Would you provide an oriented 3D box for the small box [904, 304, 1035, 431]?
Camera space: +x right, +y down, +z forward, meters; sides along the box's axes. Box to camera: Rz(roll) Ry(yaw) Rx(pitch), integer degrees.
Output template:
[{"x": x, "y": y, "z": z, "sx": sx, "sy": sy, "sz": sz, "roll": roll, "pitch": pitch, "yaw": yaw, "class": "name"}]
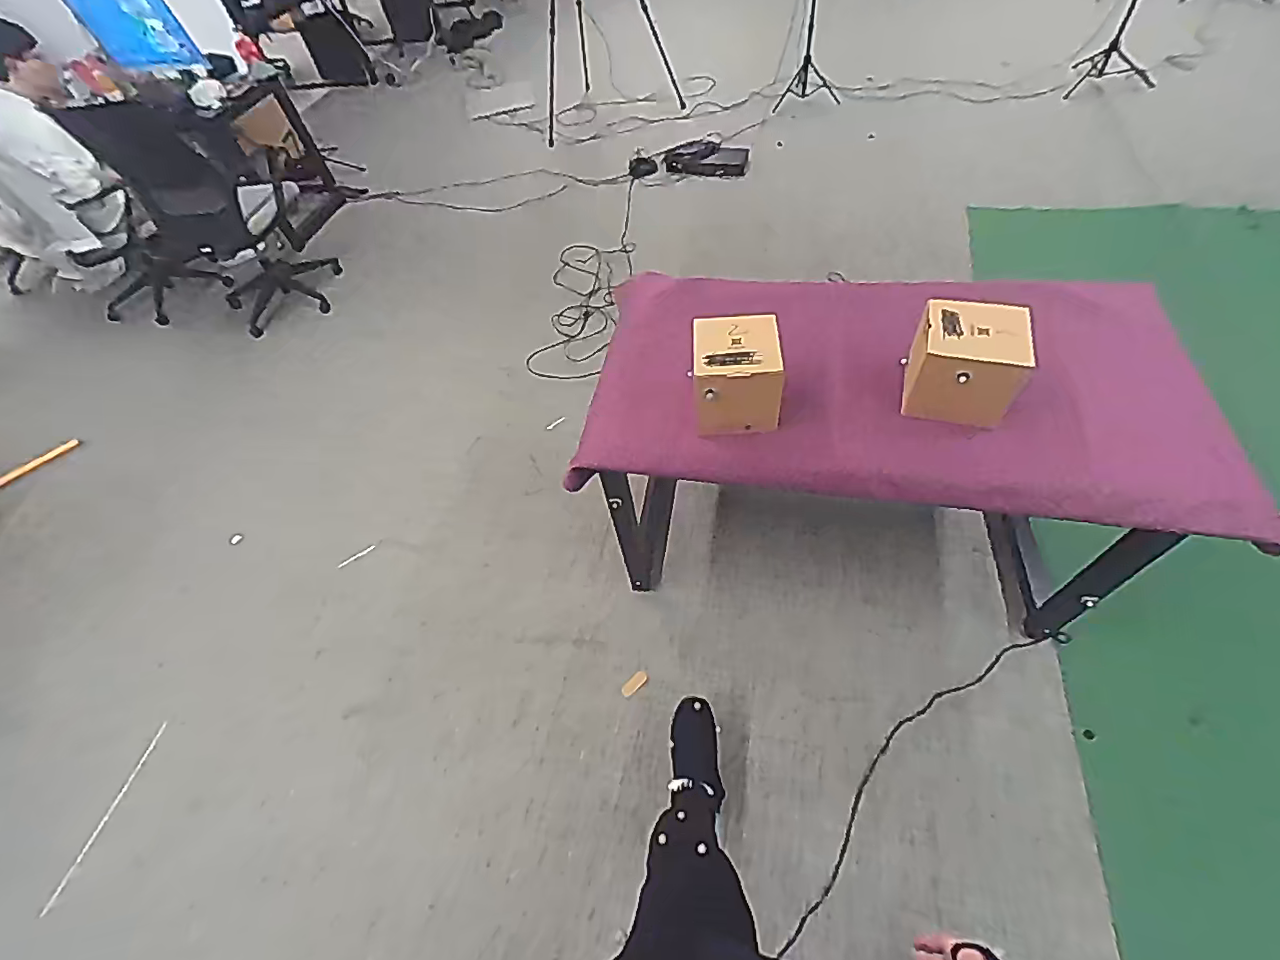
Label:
[{"x": 0.632, "y": -0.217, "z": 1.056, "sx": 0.179, "sy": 0.176, "sz": 0.168, "roll": 12, "pitch": 57, "yaw": 16, "class": "small box"}]
